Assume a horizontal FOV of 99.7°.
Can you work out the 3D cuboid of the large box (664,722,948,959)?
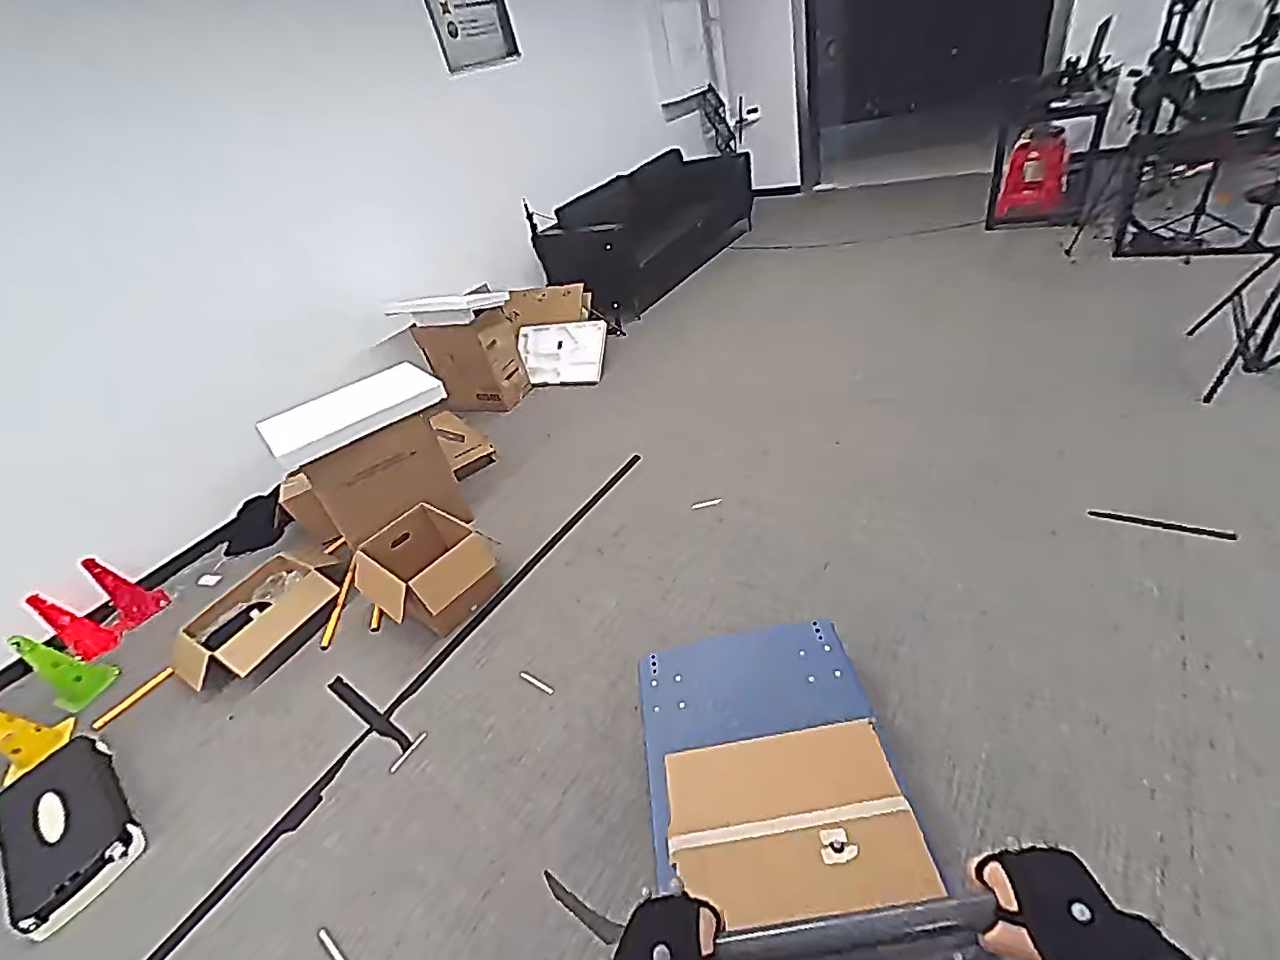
[{"bbox_3d":[0.280,0.712,1.012,0.408,0.320,0.320,-12,37,3],"label":"large box"}]
